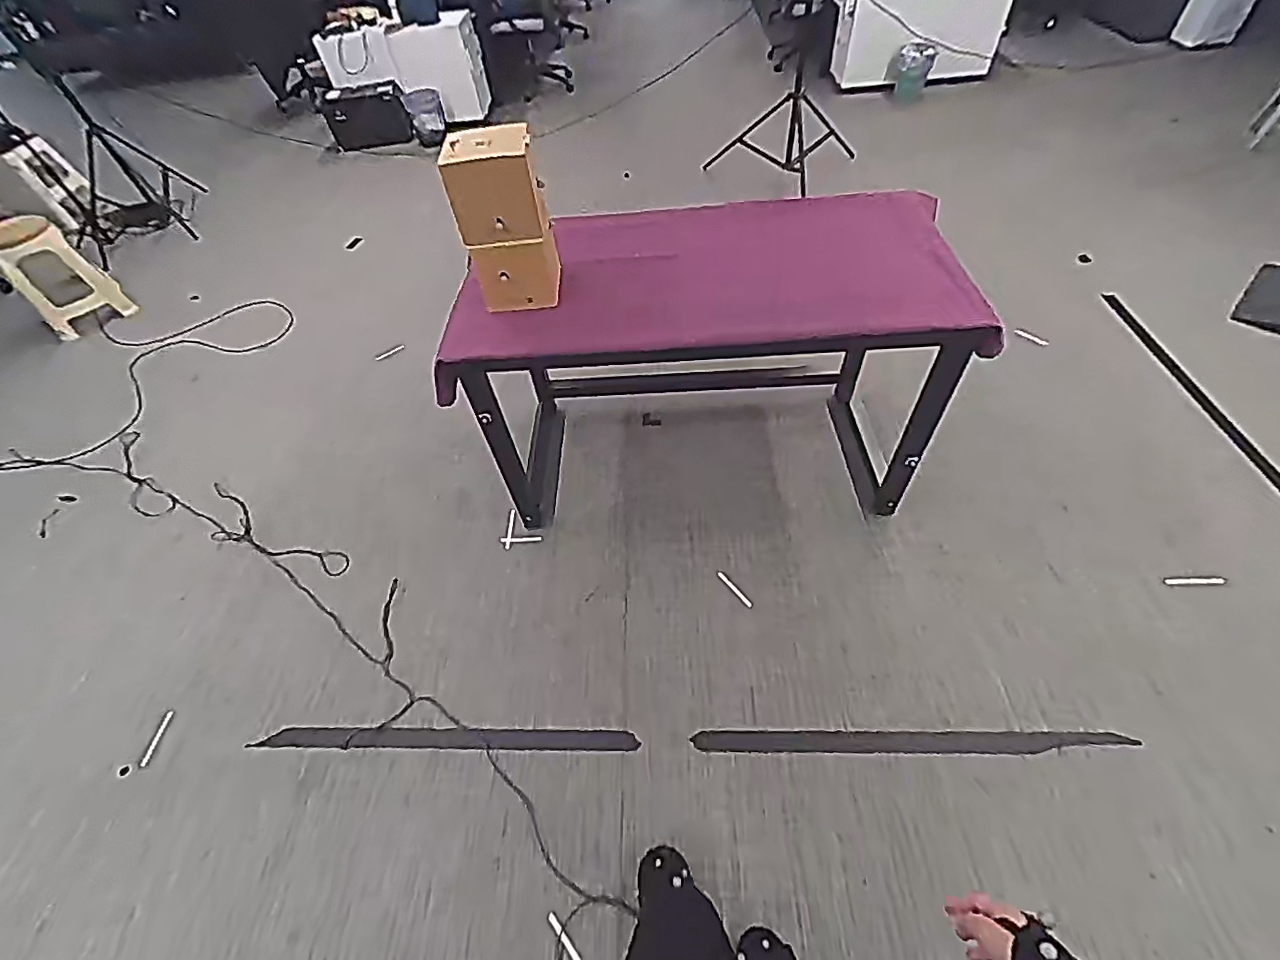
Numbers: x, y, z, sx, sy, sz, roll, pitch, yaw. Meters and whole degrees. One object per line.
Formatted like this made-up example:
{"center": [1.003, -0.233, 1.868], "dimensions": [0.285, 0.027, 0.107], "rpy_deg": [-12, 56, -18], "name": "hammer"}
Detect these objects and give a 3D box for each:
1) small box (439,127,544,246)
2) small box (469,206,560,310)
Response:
{"center": [-0.306, -0.625, 1.159], "dimensions": [0.179, 0.176, 0.168], "rpy_deg": [-6, 51, 0], "name": "small box"}
{"center": [-0.287, -0.518, 1.282], "dimensions": [0.168, 0.176, 0.179], "rpy_deg": [-5, 51, 2], "name": "small box"}
